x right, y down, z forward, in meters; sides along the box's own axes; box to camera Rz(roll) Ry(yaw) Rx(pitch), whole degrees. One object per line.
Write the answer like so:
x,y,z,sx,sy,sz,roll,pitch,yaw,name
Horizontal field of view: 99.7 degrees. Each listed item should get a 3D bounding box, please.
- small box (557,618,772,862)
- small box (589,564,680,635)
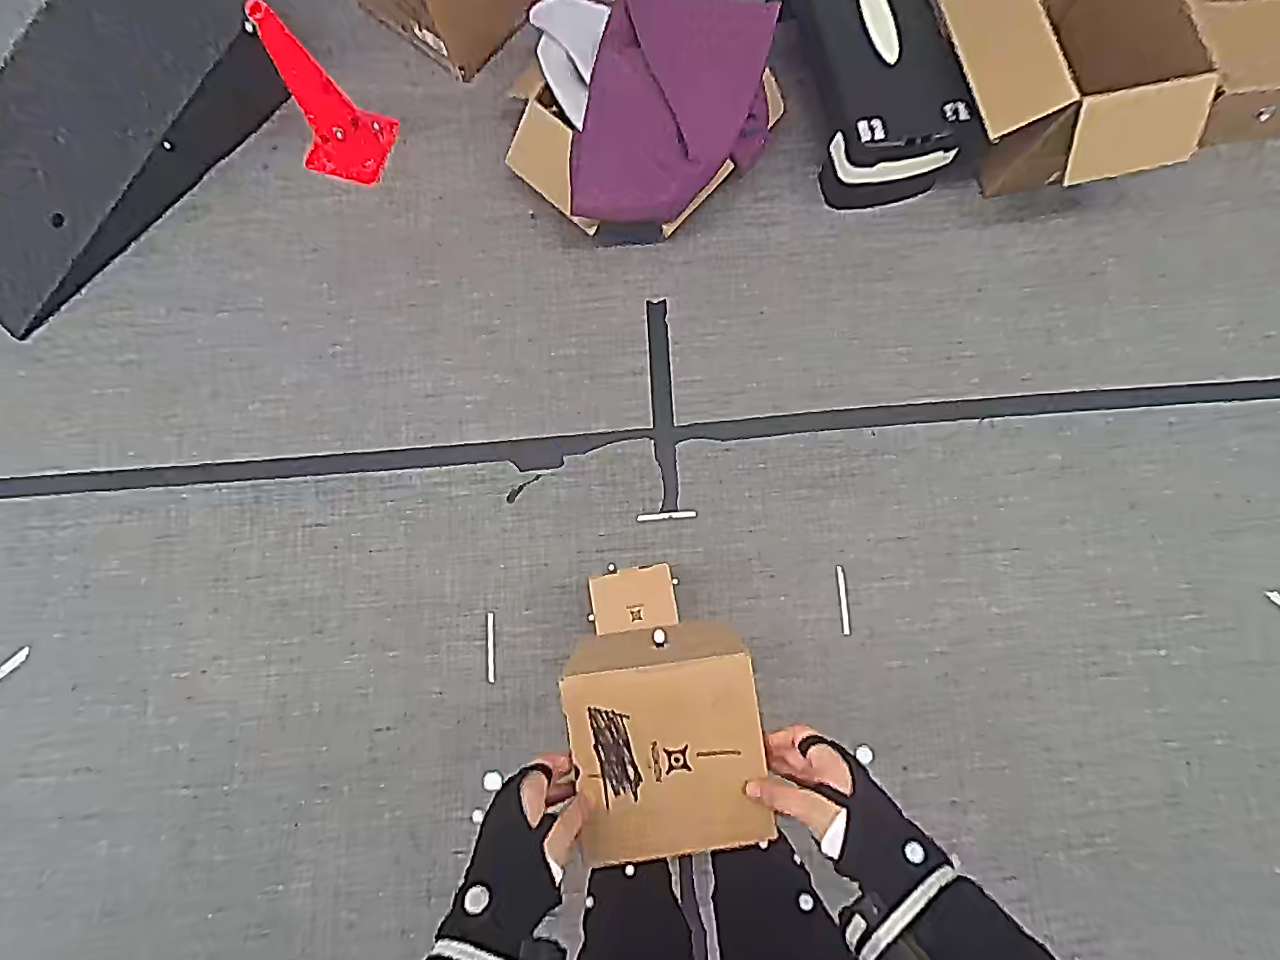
0.023,0.250,0.561,0.179,0.176,0.168,-8,87,0,small box
-0.008,0.277,1.136,0.168,0.176,0.179,-11,83,-1,small box
